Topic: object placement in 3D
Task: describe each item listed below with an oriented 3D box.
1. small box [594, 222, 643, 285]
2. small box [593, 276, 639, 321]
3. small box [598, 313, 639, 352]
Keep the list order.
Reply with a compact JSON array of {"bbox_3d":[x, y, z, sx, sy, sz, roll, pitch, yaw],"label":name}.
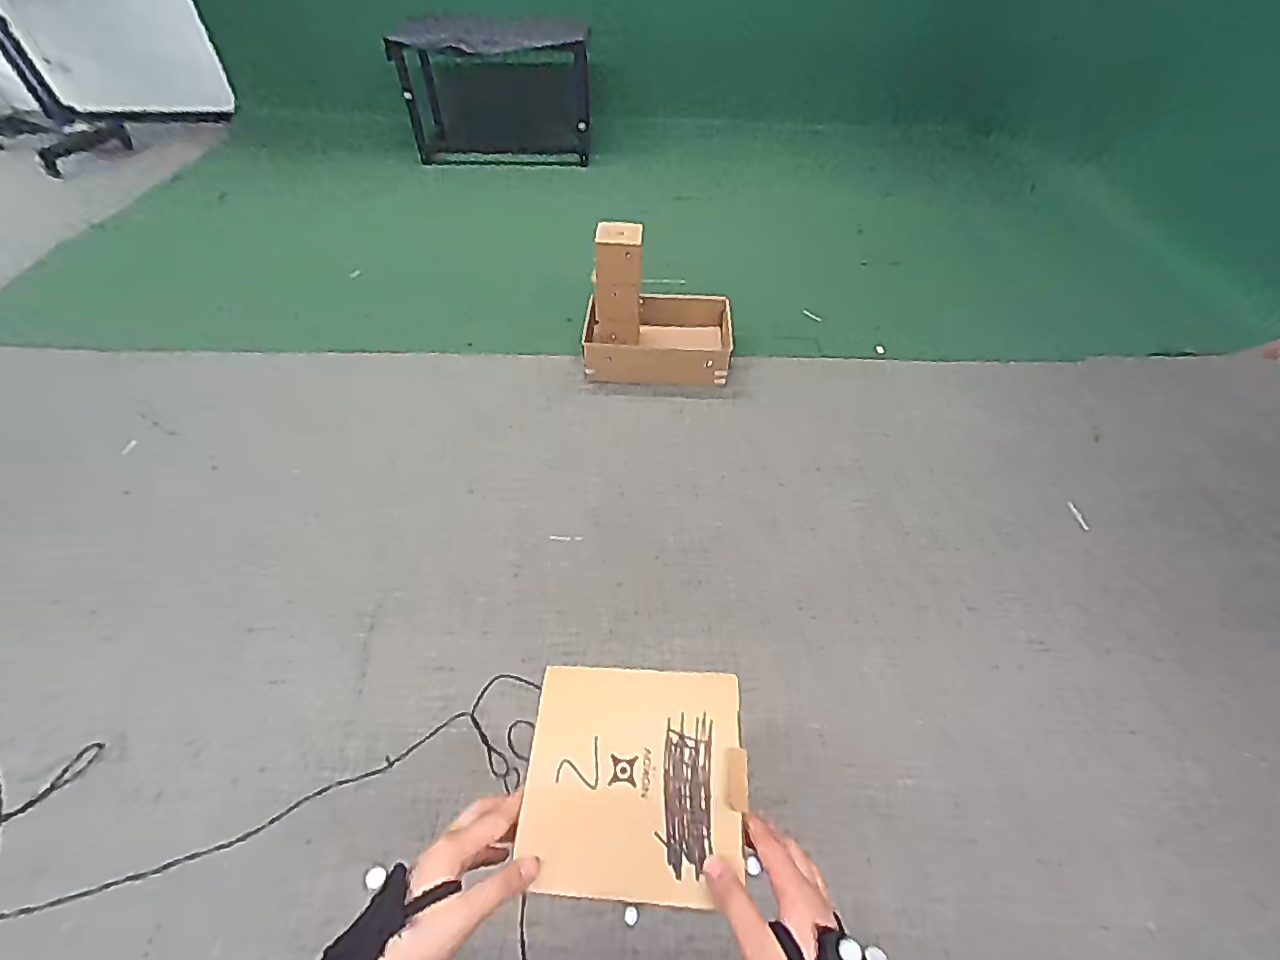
[{"bbox_3d":[-0.083,-0.874,2.095,0.179,0.176,0.168,2,50,1],"label":"small box"},{"bbox_3d":[-0.095,-0.771,2.223,0.179,0.176,0.168,3,51,1],"label":"small box"},{"bbox_3d":[-0.092,-0.673,2.355,0.168,0.176,0.179,2,51,1],"label":"small box"}]
